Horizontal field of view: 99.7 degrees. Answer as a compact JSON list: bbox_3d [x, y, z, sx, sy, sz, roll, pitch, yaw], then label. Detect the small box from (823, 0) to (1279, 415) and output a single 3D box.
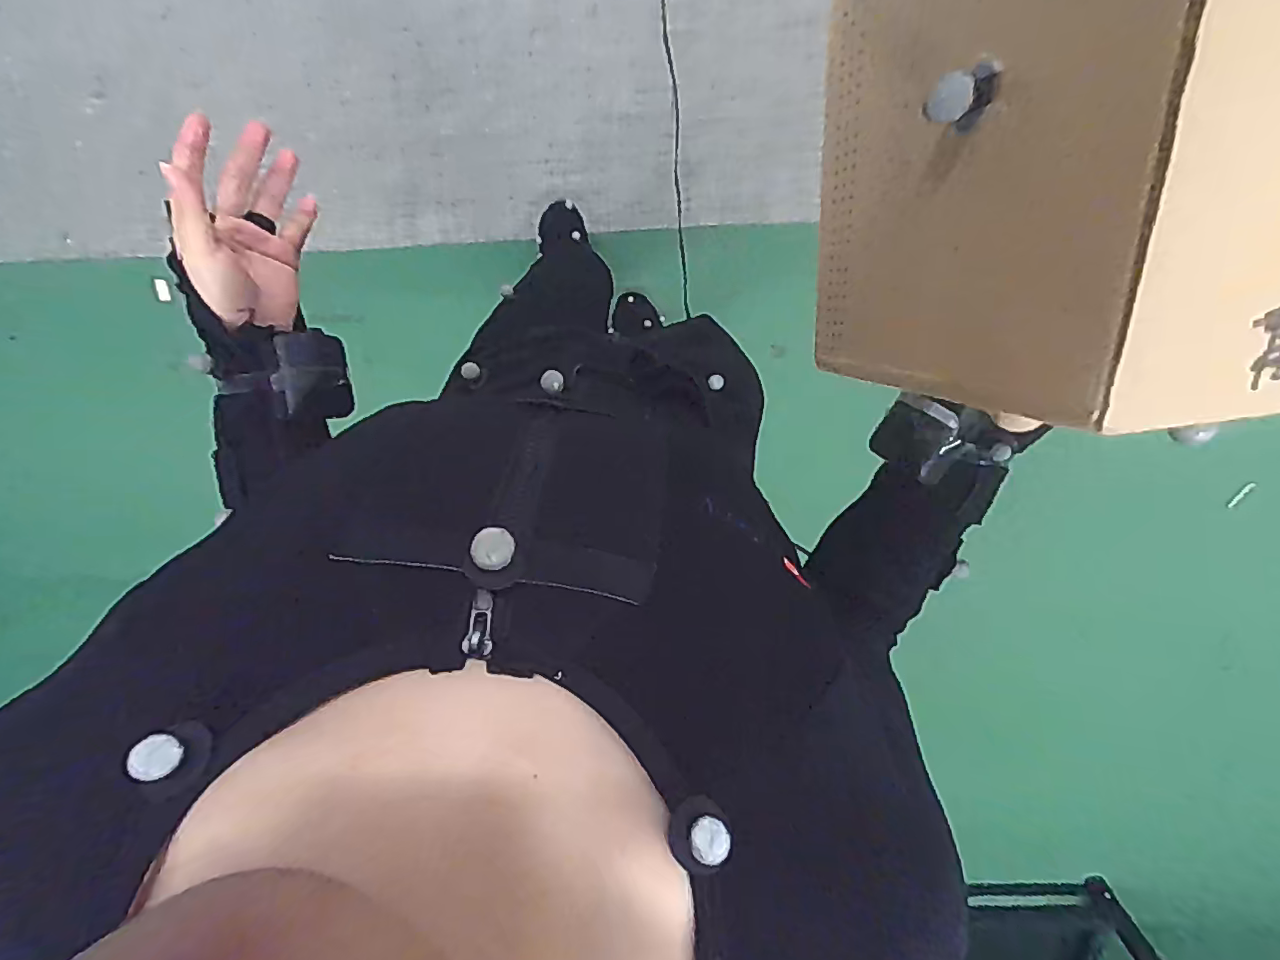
[{"bbox_3d":[0.191,-0.133,0.223,0.168,0.176,0.179,-8,108,-8],"label":"small box"}]
